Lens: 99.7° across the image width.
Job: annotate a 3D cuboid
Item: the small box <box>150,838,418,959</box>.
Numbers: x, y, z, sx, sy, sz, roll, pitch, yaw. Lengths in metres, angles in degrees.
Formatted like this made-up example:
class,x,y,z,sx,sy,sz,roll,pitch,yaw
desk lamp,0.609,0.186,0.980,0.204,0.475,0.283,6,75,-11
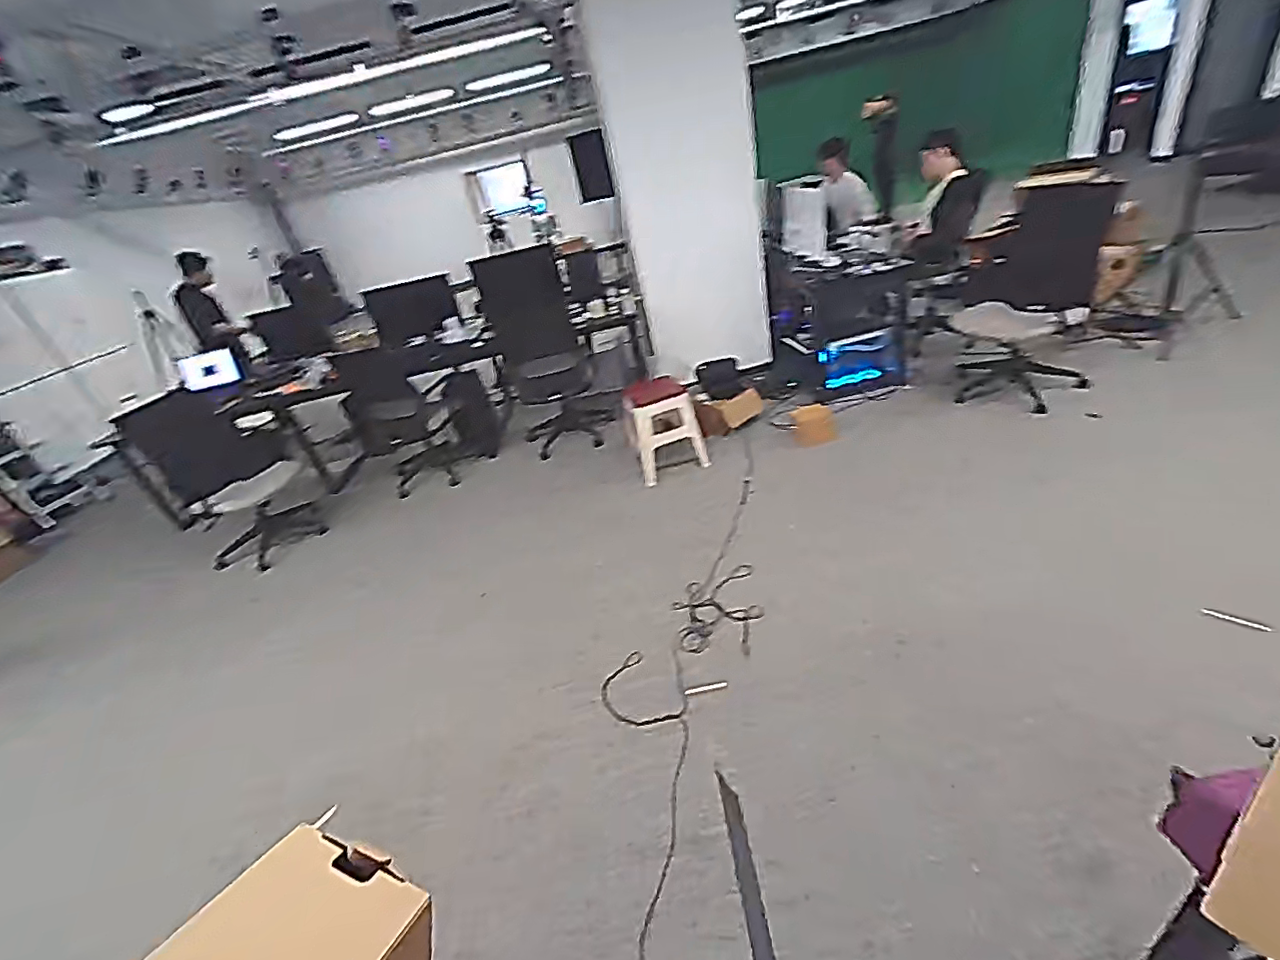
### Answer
class,x,y,z,sx,sy,sz,roll,pitch,yaw
small box,-0.312,0.470,0.462,0.168,0.176,0.179,12,15,17
